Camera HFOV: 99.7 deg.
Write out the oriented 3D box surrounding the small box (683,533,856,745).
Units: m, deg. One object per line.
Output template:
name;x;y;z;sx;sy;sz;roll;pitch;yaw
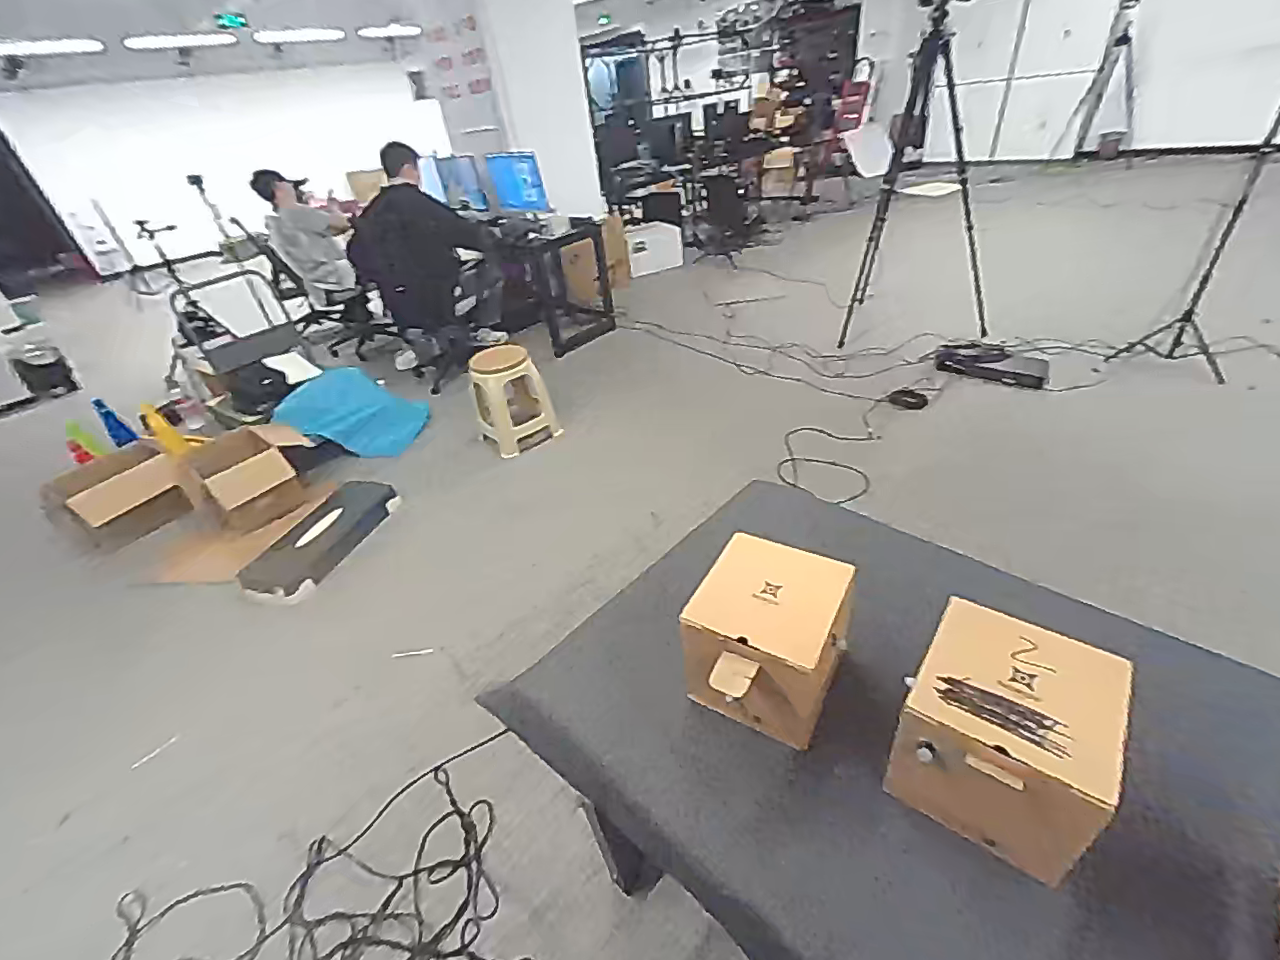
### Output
small box;0.171;0.204;0.717;0.168;0.176;0.179;15;42;29
